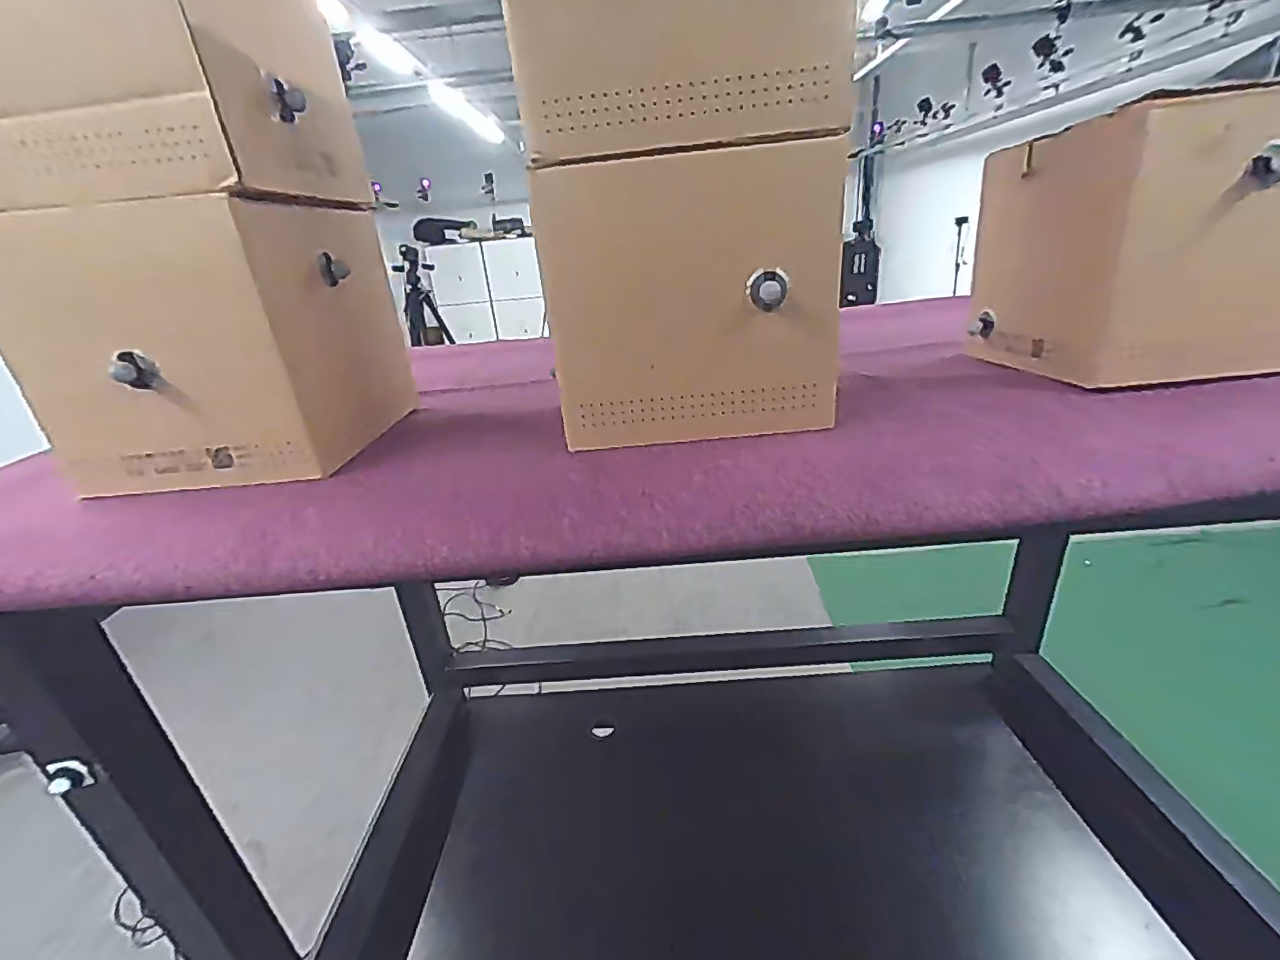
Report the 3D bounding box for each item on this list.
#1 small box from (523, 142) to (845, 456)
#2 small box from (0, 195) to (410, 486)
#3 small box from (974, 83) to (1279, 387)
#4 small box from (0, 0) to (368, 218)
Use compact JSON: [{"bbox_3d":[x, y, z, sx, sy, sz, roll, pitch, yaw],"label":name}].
[{"bbox_3d":[0.030,-0.127,0.392,0.179,0.176,0.168,-6,23,1],"label":"small box"},{"bbox_3d":[-0.291,-0.101,0.394,0.168,0.176,0.179,-4,24,1],"label":"small box"},{"bbox_3d":[0.376,-0.168,0.399,0.179,0.176,0.168,-4,21,3],"label":"small box"},{"bbox_3d":[-0.303,-0.249,0.328,0.179,0.176,0.168,-4,25,0],"label":"small box"}]
